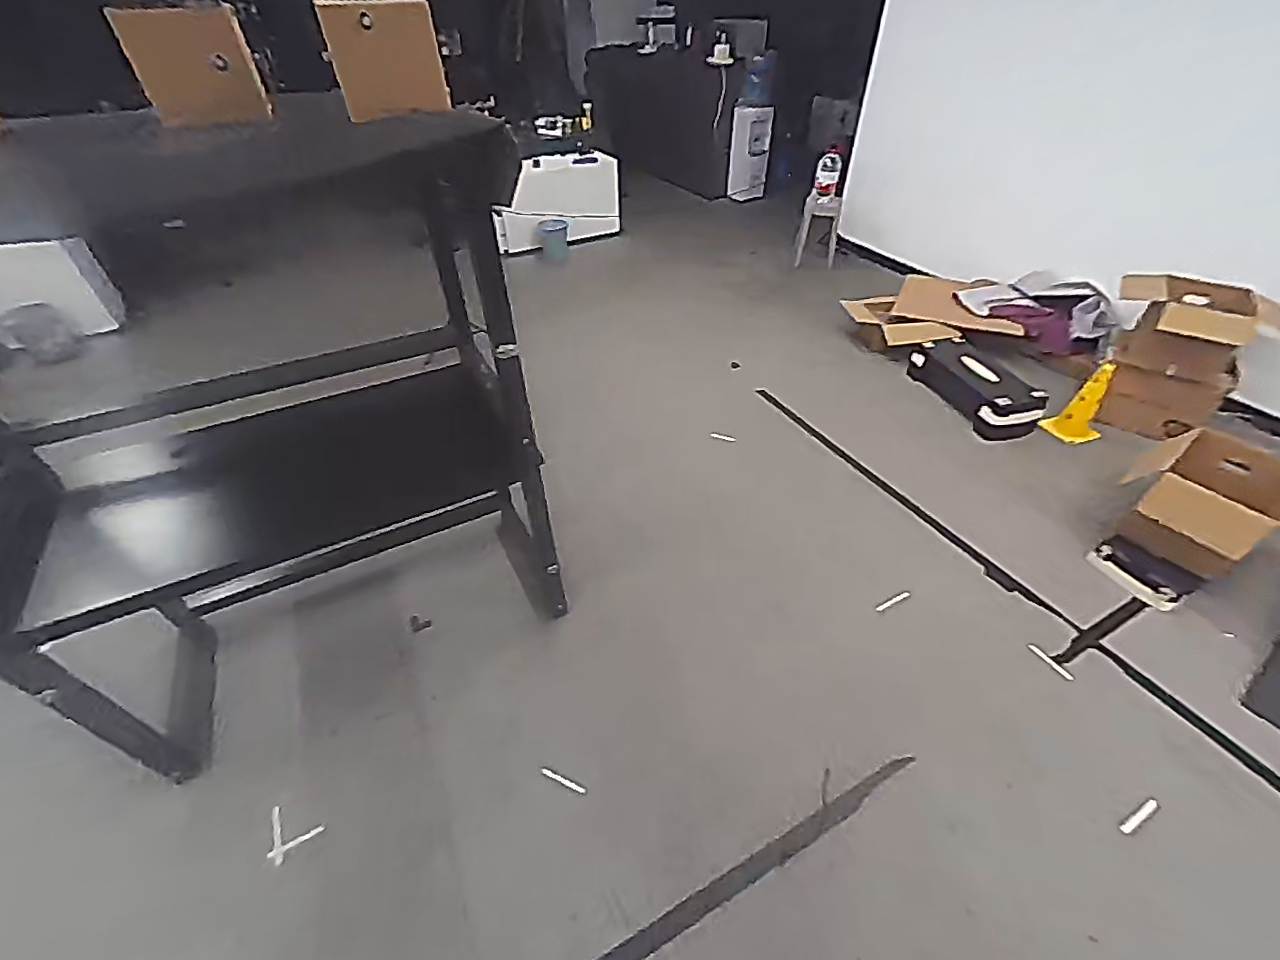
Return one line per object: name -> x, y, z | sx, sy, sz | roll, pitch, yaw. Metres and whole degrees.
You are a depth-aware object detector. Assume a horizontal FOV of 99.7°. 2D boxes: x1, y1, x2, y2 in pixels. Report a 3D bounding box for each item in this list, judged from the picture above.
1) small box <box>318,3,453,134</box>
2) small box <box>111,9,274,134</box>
small box -> -0.440, -0.719, 0.946 | 0.168, 0.176, 0.179 | -18, 44, -16
small box -> -0.812, -0.762, 1.007 | 0.179, 0.176, 0.168 | -19, 44, -19
